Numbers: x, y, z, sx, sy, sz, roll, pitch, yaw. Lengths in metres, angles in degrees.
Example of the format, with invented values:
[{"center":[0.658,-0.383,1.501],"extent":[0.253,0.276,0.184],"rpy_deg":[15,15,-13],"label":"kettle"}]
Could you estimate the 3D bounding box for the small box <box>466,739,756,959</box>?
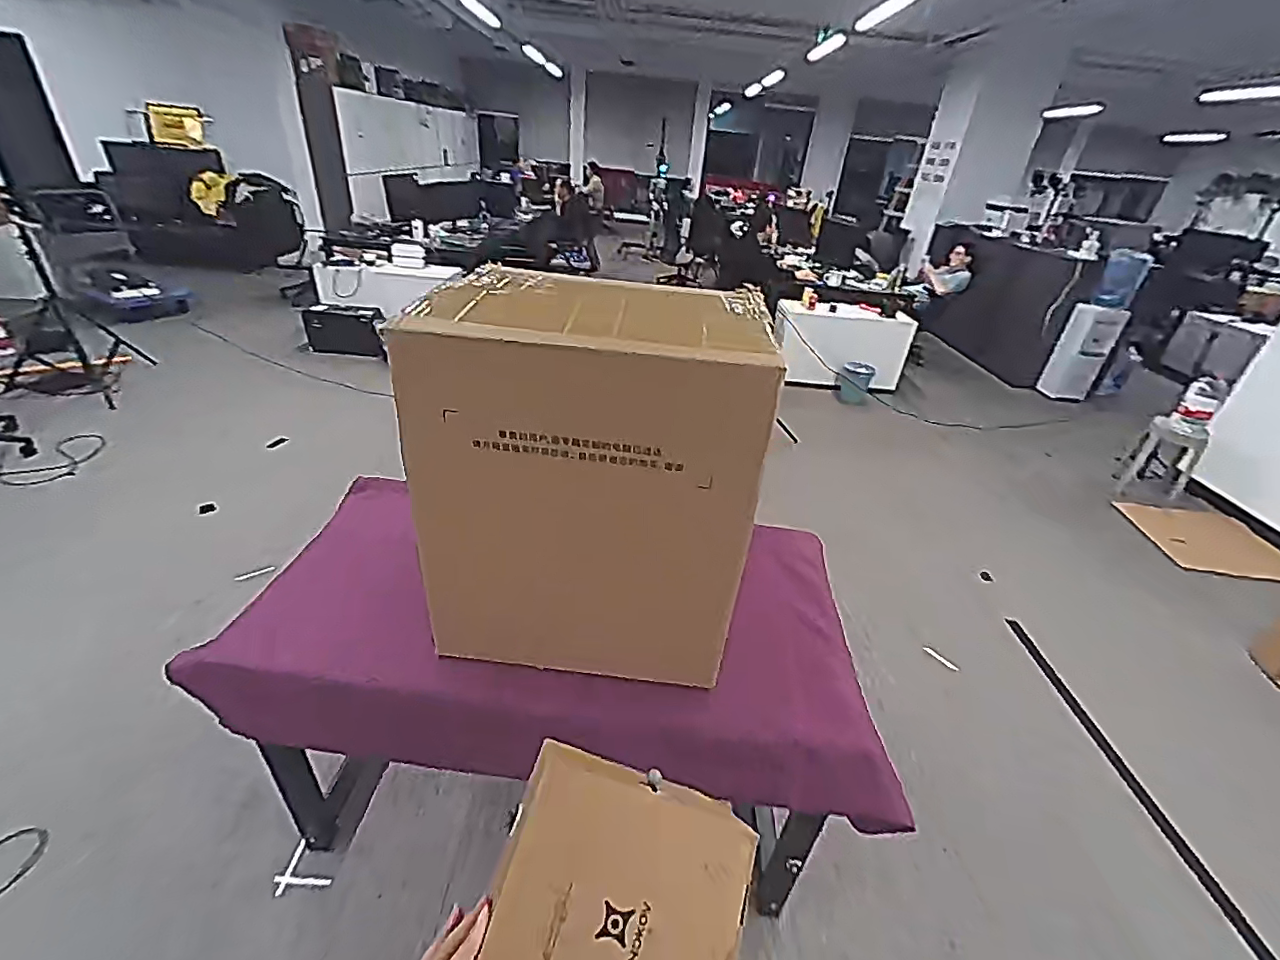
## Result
[{"center":[-0.029,0.329,0.450],"extent":[0.179,0.176,0.168],"rpy_deg":[20,67,-3],"label":"small box"}]
